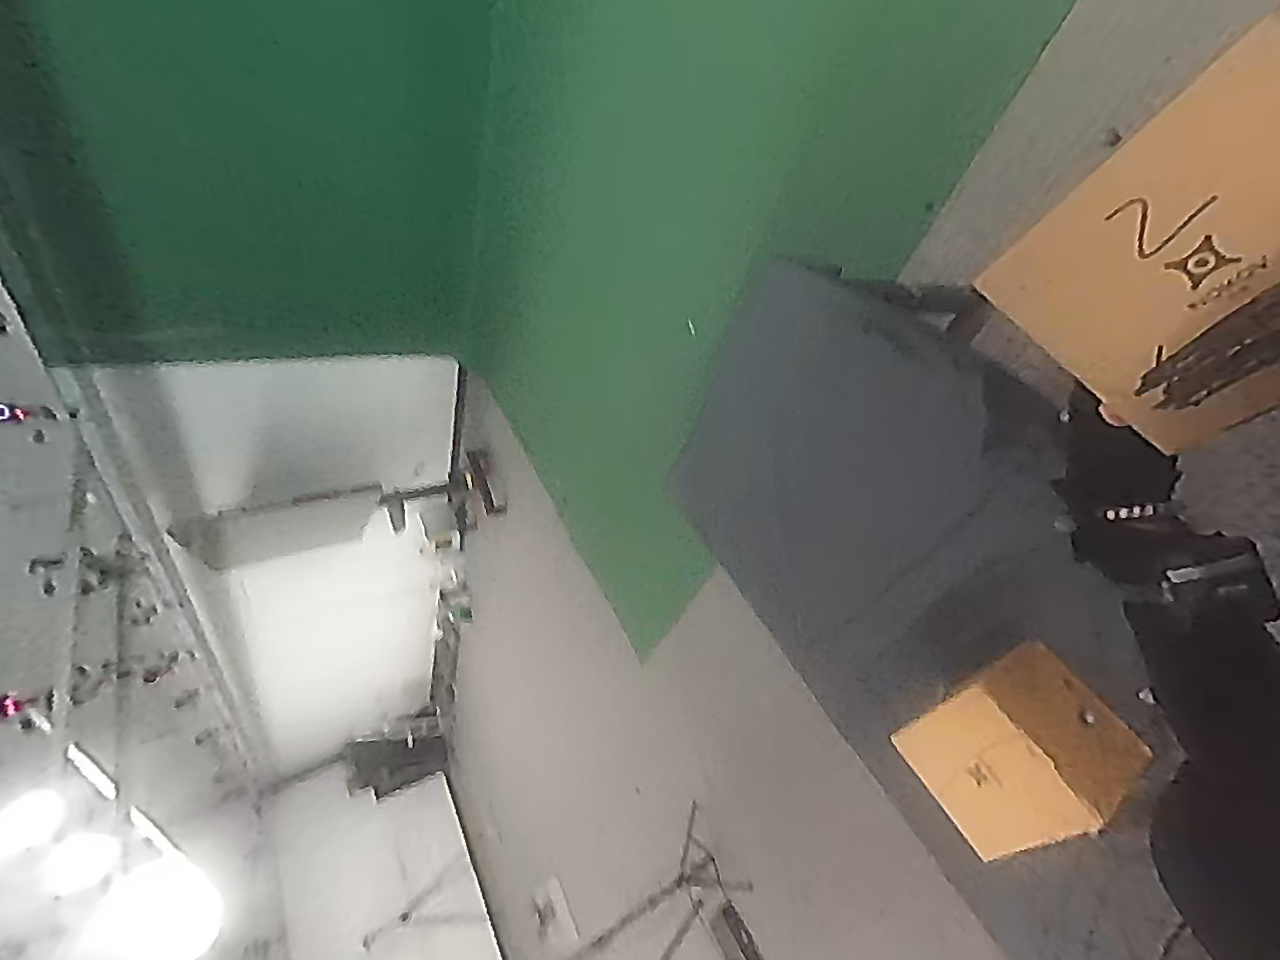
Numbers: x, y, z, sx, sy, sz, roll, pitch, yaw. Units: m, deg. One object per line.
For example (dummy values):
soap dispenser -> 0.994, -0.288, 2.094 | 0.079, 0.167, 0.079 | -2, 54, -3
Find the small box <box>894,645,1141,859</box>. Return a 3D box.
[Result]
small box -> 0.485, 0.346, 0.703 | 0.168, 0.176, 0.179 | 55, 140, 32
